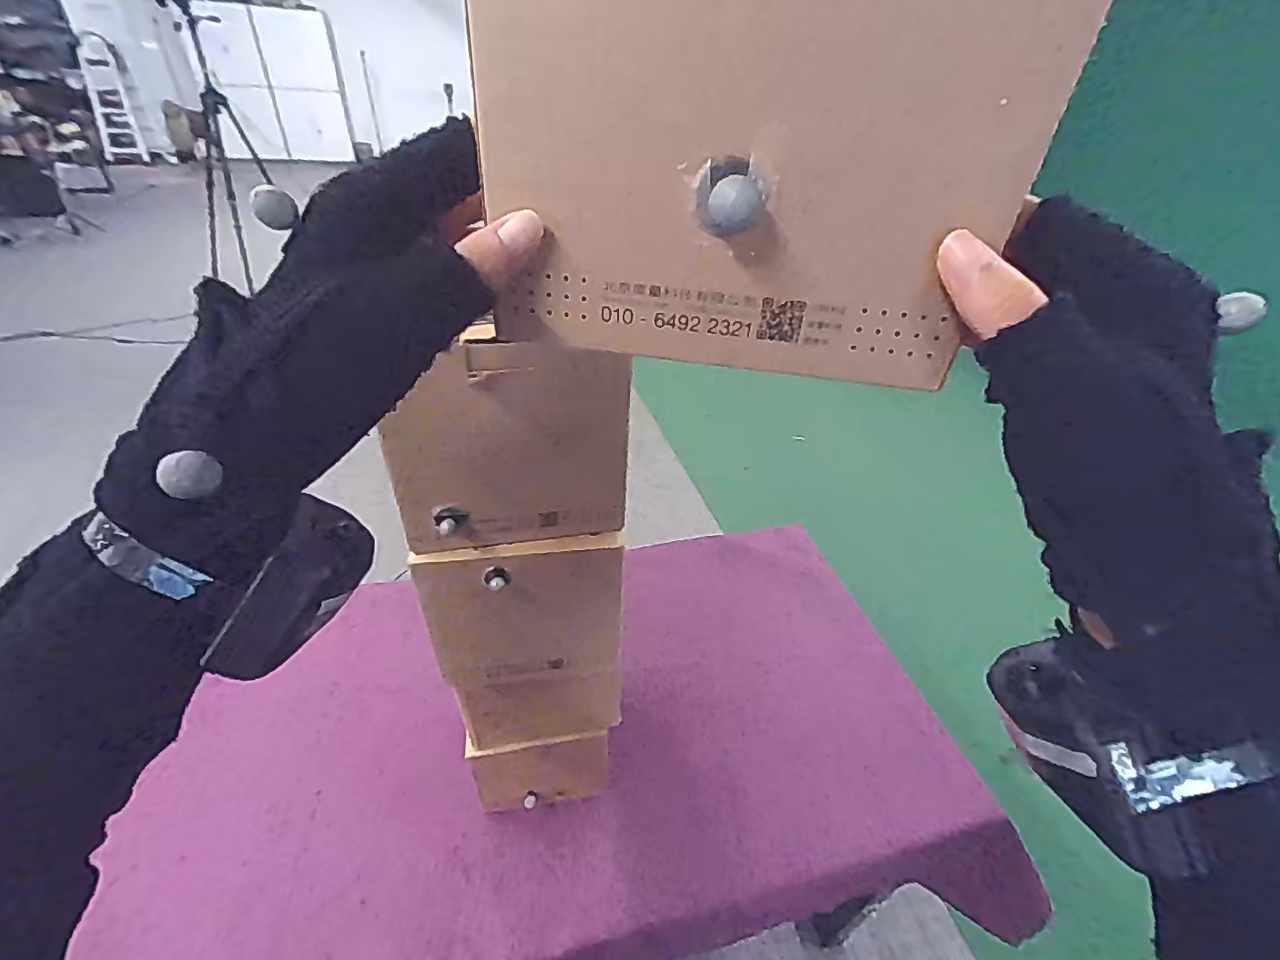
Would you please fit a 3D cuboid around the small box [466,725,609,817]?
[{"bbox_3d":[-0.136,0.321,0.736,0.168,0.176,0.179,-5,39,-10],"label":"small box"}]

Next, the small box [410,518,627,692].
[{"bbox_3d":[-0.108,0.075,0.524,0.168,0.176,0.179,-4,37,-9],"label":"small box"}]

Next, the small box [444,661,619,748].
[{"bbox_3d":[-0.121,0.191,0.641,0.179,0.176,0.168,-5,38,-11],"label":"small box"}]

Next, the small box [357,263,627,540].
[{"bbox_3d":[-0.105,-0.065,0.436,0.168,0.176,0.179,-6,37,-13],"label":"small box"}]
